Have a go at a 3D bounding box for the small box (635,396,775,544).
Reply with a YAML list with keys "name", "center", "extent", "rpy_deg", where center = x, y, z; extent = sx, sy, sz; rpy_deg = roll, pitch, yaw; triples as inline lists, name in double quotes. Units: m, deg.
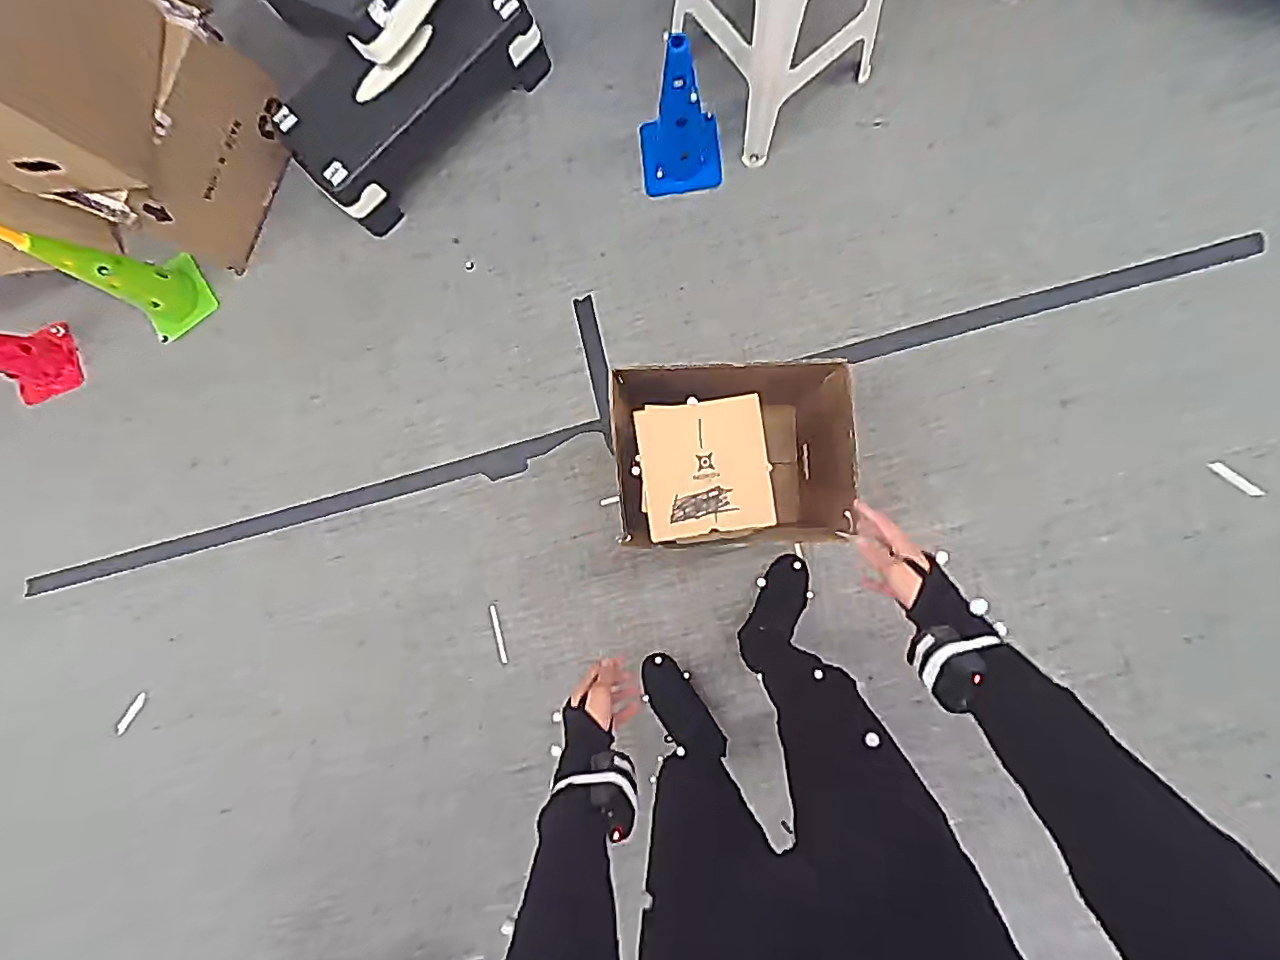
- name: "small box"
  center: [0.087, -0.016, 0.779]
  extent: [0.168, 0.176, 0.179]
  rpy_deg: [-8, 91, 1]
